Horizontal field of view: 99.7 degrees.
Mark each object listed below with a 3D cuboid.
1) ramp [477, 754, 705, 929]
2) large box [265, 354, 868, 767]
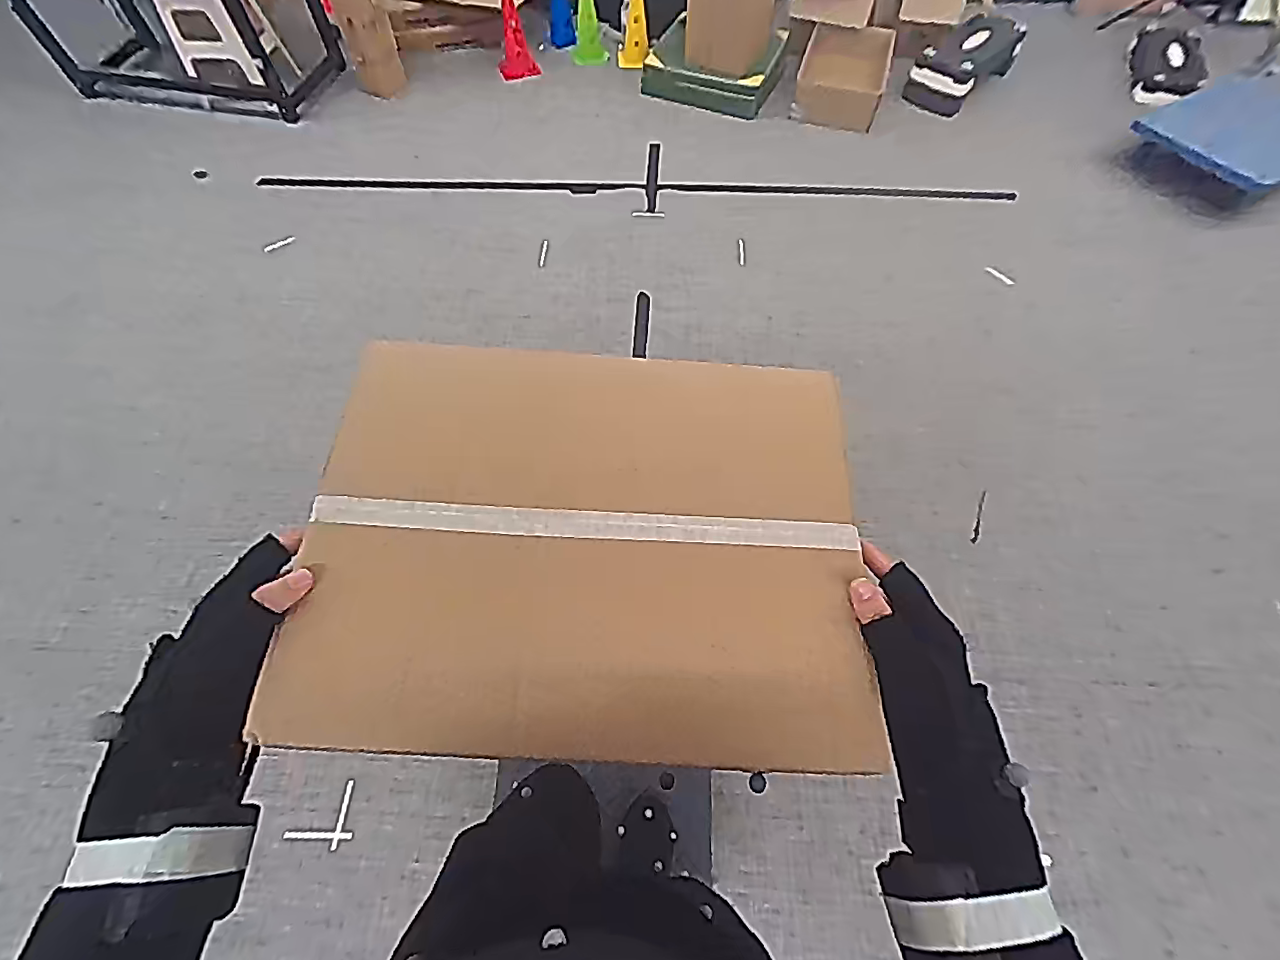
[{"bbox_3d":[-0.083,0.476,1.312,0.509,0.206,0.991,2,61,-1],"label":"ramp"},{"bbox_3d":[-0.046,0.100,0.550,0.408,0.320,0.320,4,64,-2],"label":"large box"}]
